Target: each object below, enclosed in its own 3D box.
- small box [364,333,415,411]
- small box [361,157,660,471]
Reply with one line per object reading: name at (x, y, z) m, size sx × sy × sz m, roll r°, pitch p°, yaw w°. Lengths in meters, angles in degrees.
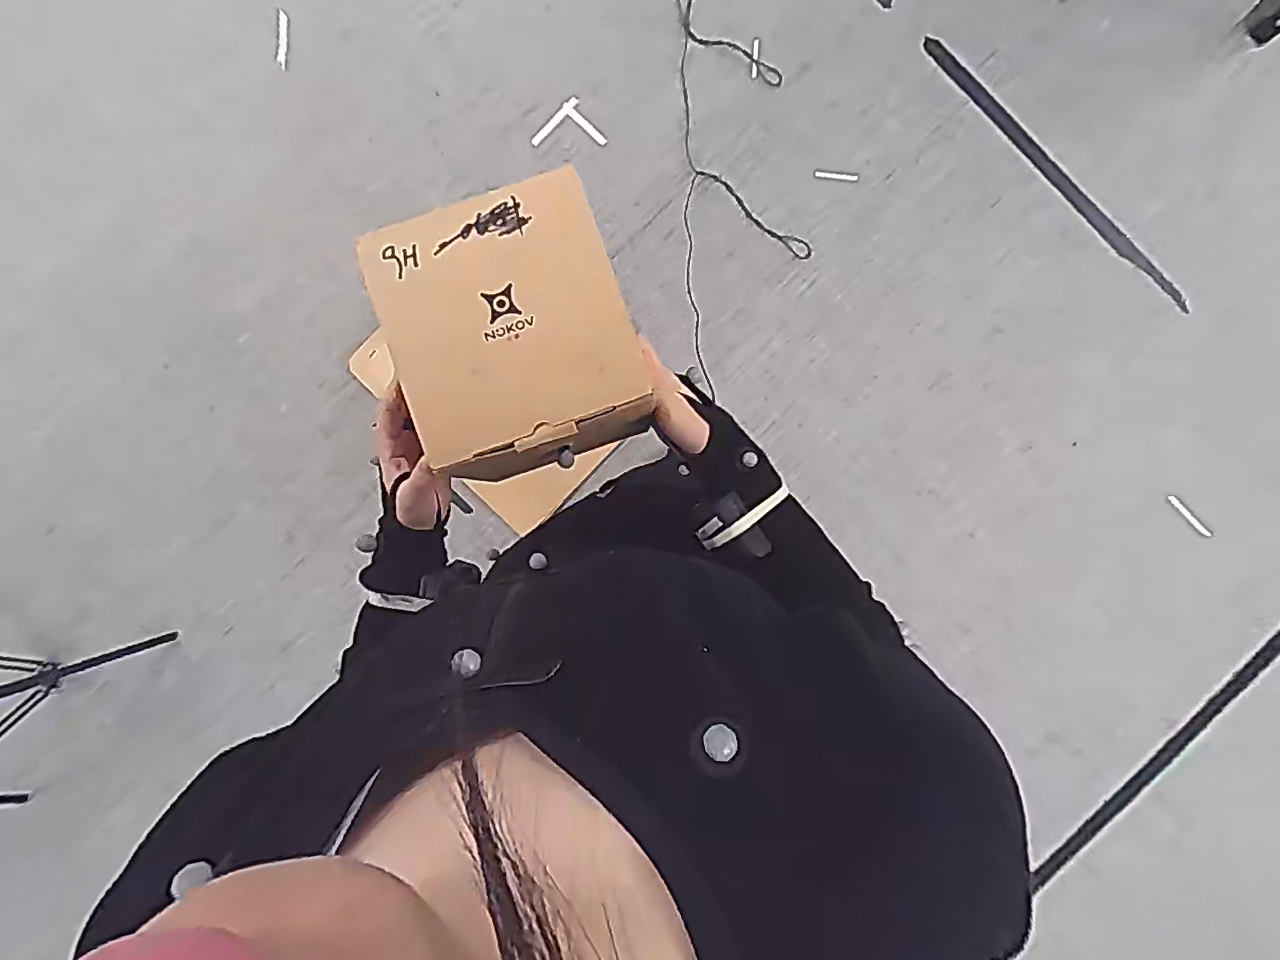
small box at (-0.560, -0.280, 1.398) m, size 0.179 × 0.176 × 0.168 m, roll 39°, pitch 91°, yaw -1°
small box at (-0.086, -0.112, 0.445) m, size 0.168 × 0.176 × 0.179 m, roll -18°, pitch 88°, yaw -1°
